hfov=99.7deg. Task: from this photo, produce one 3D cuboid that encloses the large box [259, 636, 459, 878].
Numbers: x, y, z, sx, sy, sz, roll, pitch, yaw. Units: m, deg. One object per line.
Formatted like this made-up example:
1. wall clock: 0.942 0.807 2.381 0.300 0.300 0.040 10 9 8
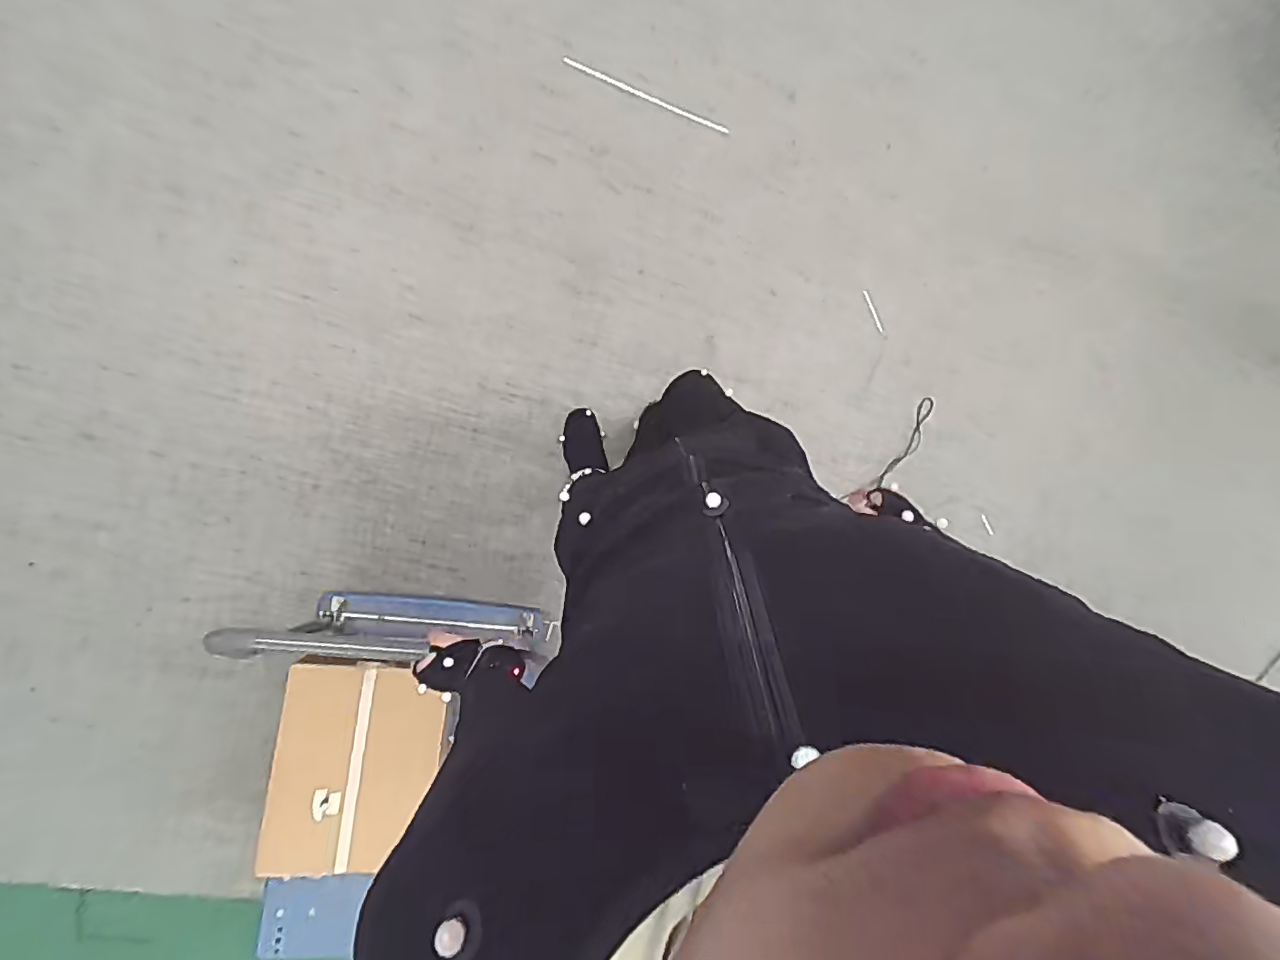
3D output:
1. large box: -0.599 0.588 1.226 0.320 0.320 0.408 8 84 -13
